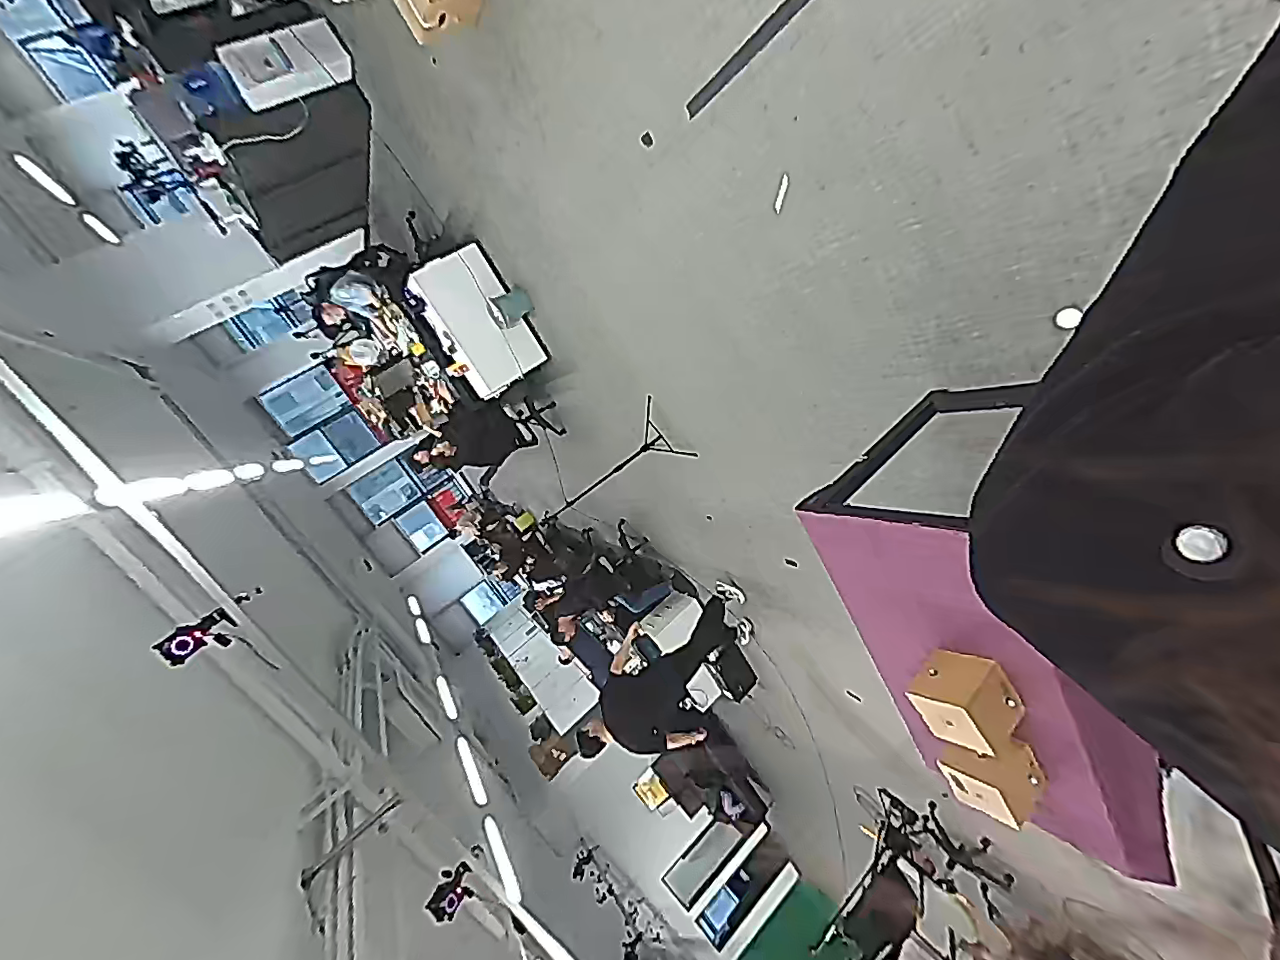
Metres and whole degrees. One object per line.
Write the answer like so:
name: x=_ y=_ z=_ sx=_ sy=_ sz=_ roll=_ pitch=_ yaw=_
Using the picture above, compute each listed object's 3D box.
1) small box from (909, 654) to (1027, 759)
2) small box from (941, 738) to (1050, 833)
small box: x=0.861 y=0.584 z=1.422 sx=0.168 sy=0.176 sz=0.179 roll=54 pitch=160 yaw=-8
small box: x=1.004 y=0.833 z=1.529 sx=0.168 sy=0.176 sz=0.179 roll=57 pitch=158 yaw=-14
